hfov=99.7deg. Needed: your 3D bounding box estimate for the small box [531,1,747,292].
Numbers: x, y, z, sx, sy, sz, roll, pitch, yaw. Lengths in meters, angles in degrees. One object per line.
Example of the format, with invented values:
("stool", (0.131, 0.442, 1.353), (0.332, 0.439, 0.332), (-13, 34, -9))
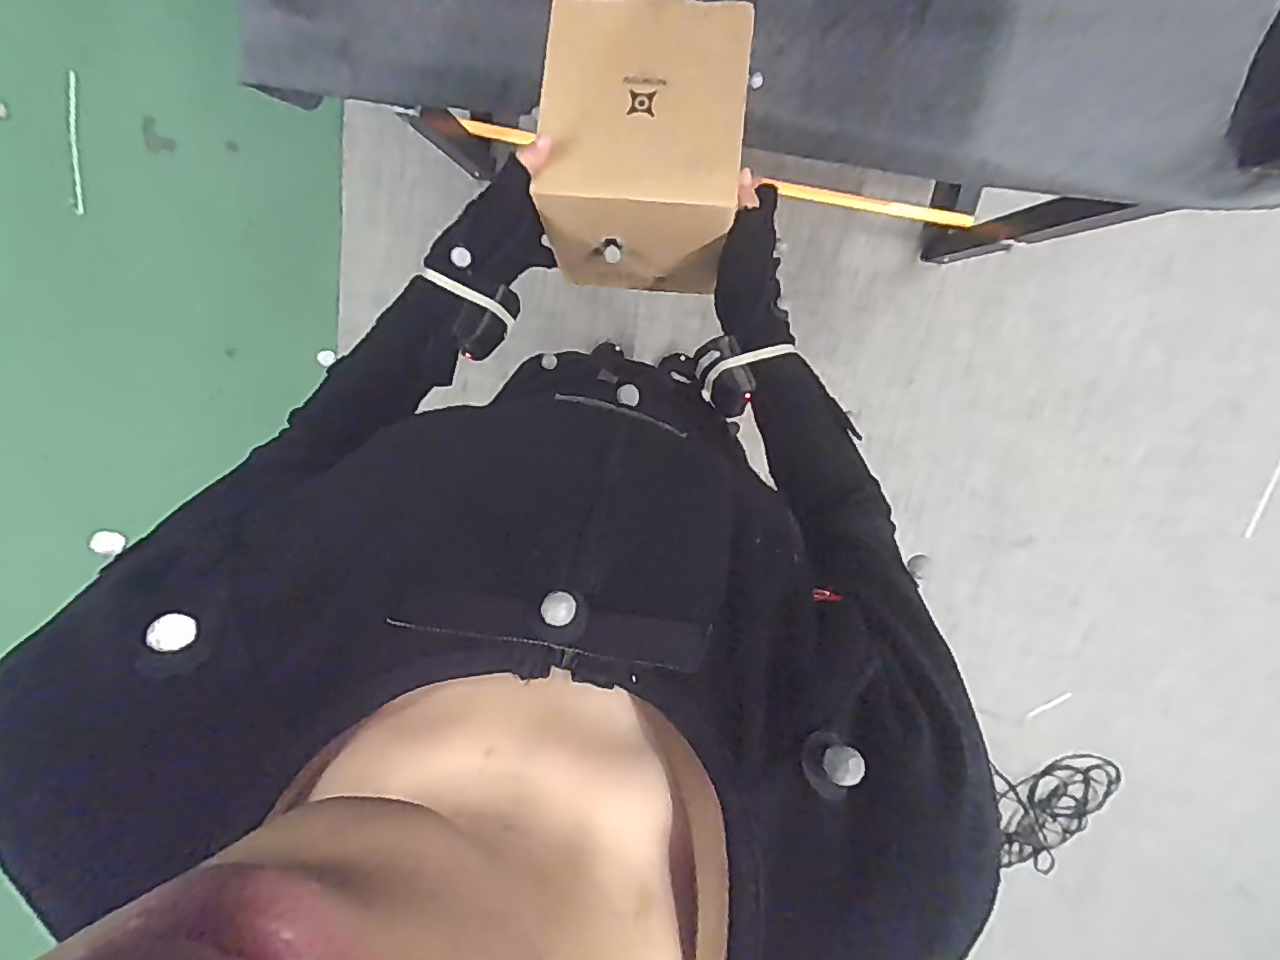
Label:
("small box", (0.003, -0.299, 0.519), (0.168, 0.176, 0.179), (5, 84, 3))
